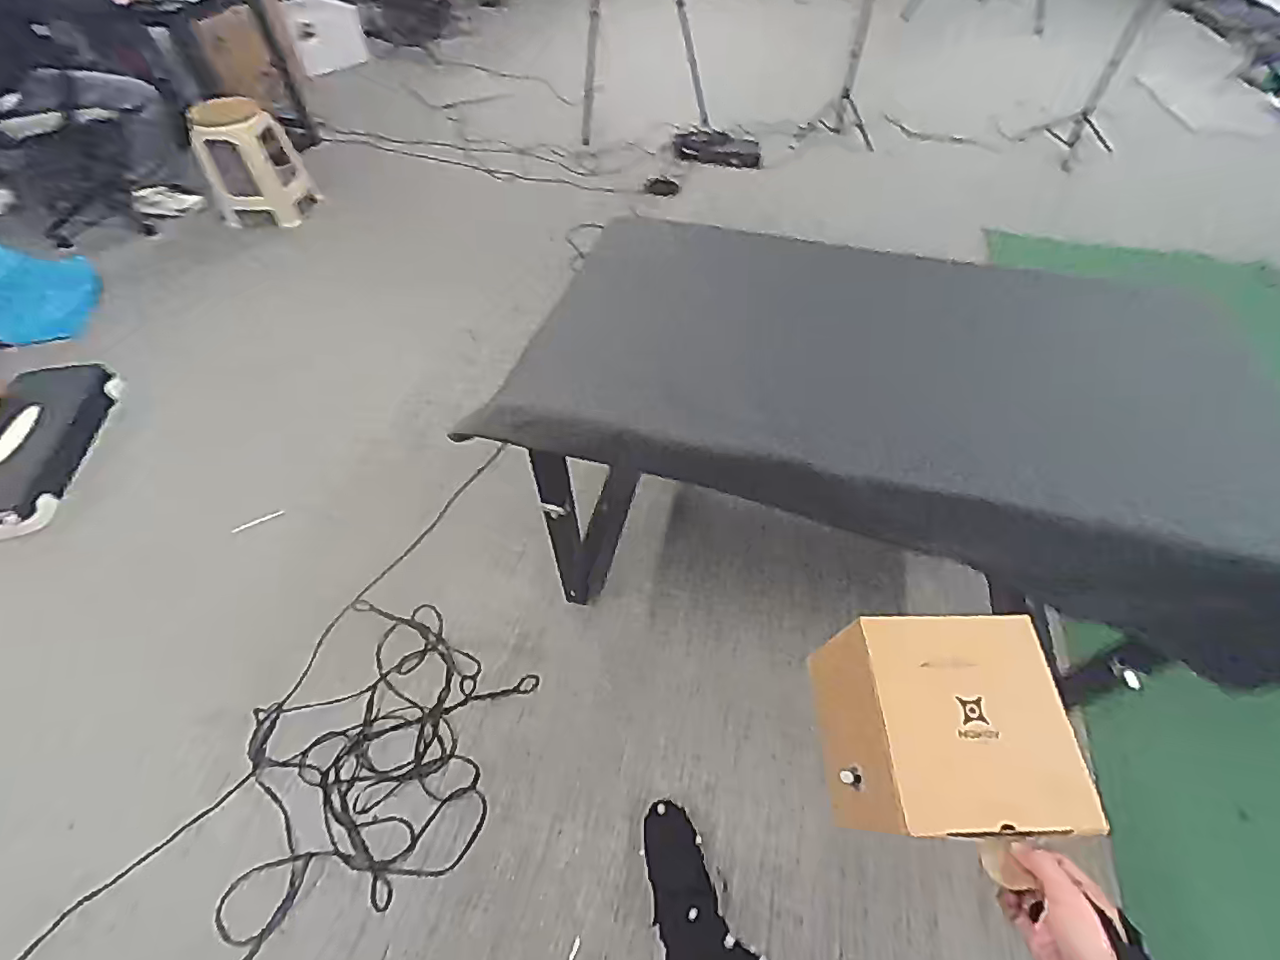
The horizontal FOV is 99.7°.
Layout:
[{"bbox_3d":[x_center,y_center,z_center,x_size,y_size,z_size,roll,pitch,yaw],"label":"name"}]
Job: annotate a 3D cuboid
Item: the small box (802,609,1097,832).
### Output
[{"bbox_3d":[0.276,0.238,0.533,0.168,0.176,0.179,1,58,-4],"label":"small box"}]
